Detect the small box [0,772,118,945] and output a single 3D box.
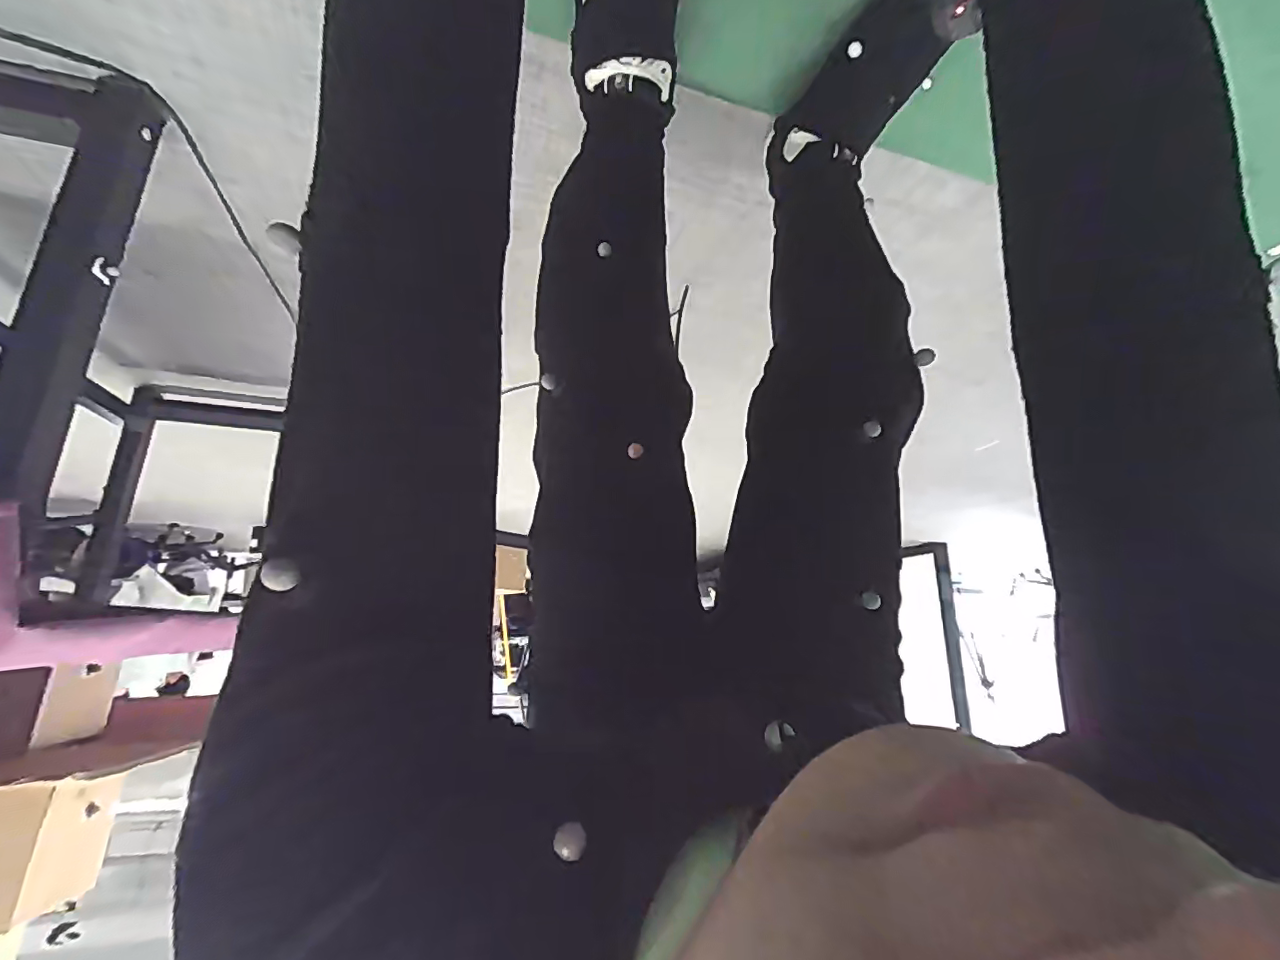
[{"bbox_3d":[-0.868,0.498,0.723,0.179,0.176,0.168,4,161,-14],"label":"small box"}]
